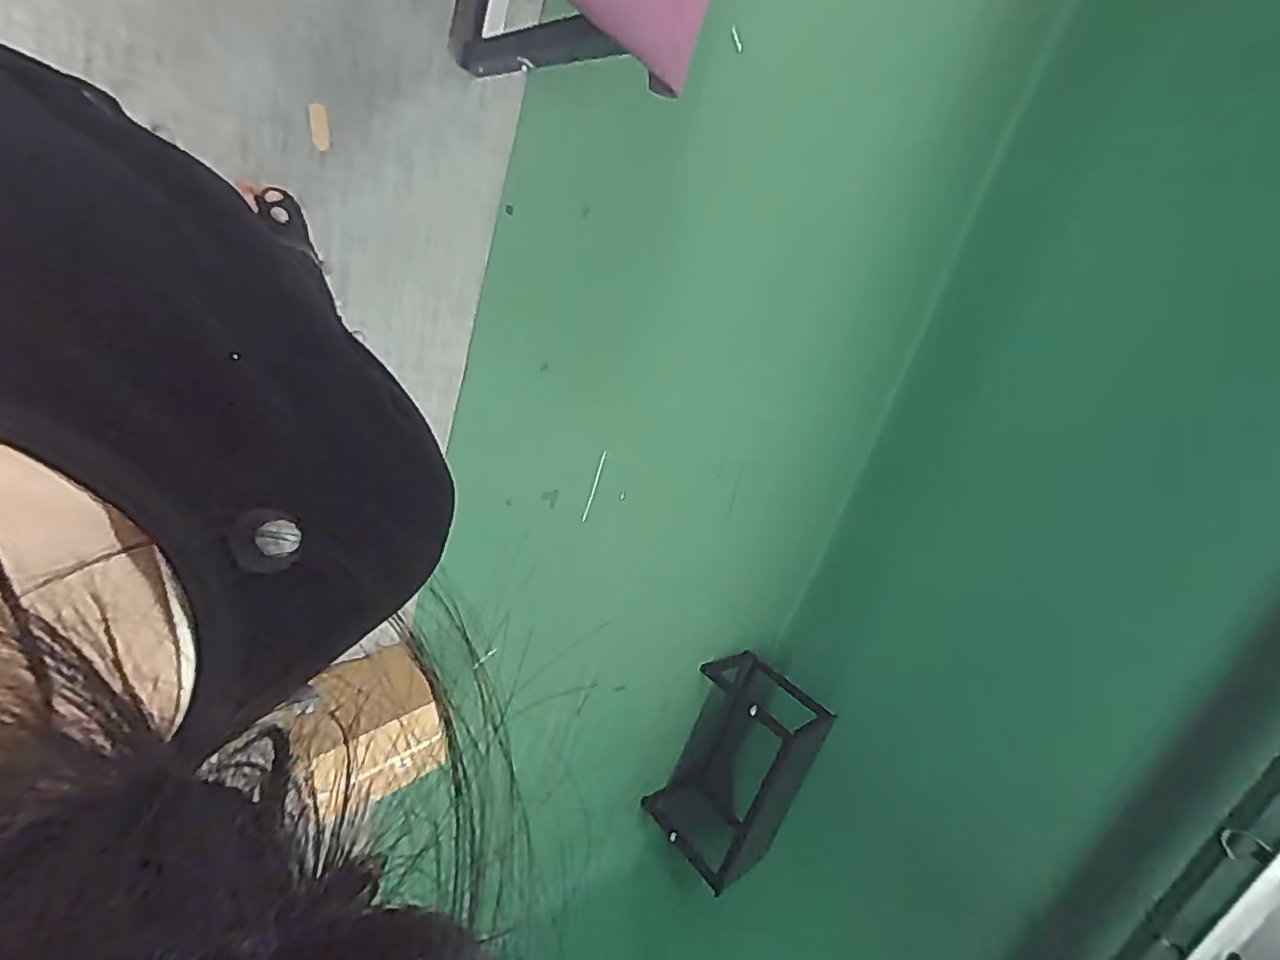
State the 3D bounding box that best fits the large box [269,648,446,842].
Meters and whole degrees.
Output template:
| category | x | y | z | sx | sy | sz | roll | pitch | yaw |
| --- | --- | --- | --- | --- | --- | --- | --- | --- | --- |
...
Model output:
| category | x | y | z | sx | sy | sz | roll | pitch | yaw |
| --- | --- | --- | --- | --- | --- | --- | --- | --- | --- |
| large box | -0.881 | 0.811 | 1.711 | 0.408 | 0.320 | 0.320 | -17 | 125 | -40 |
